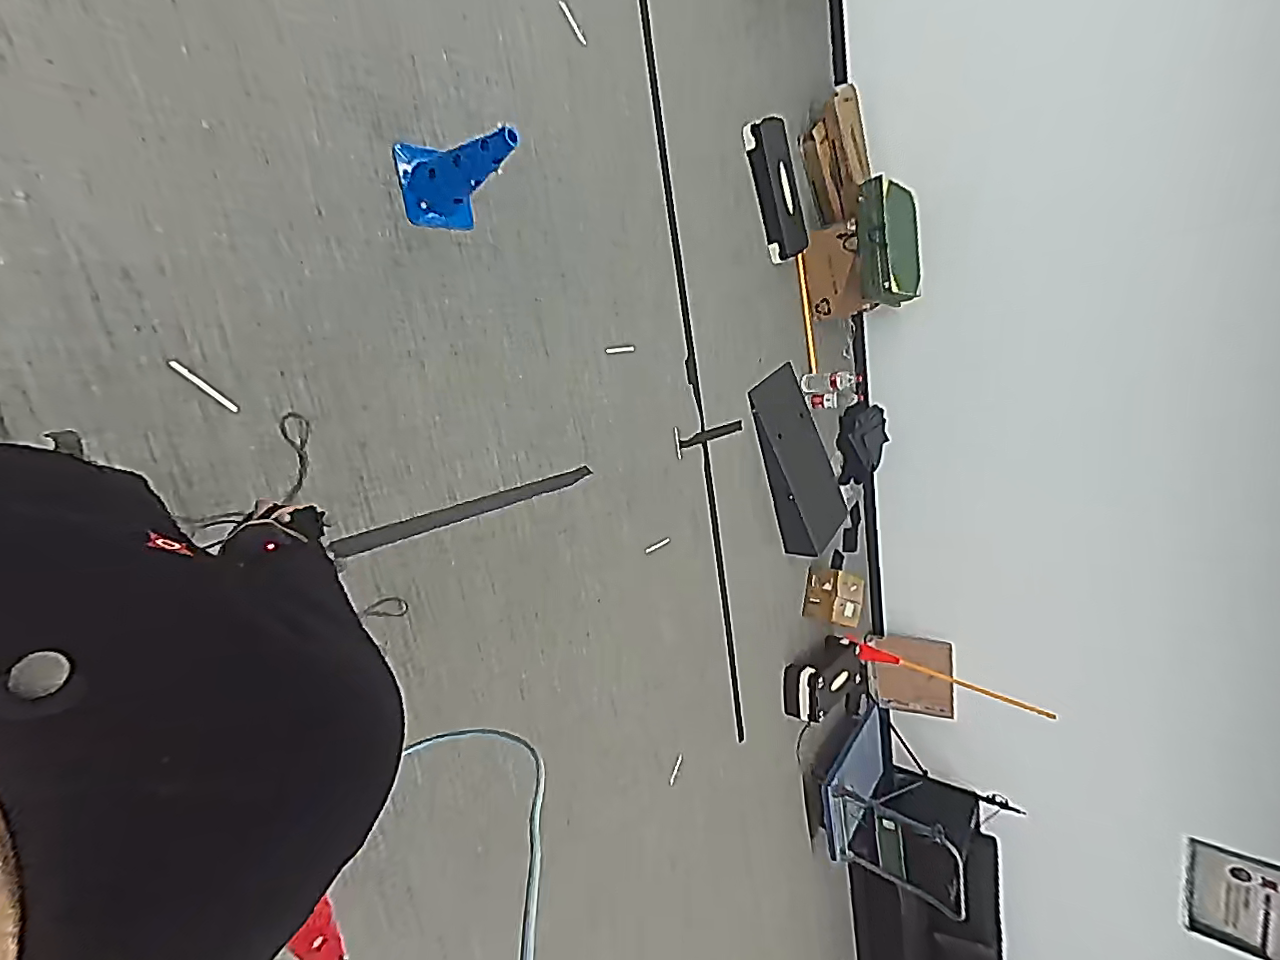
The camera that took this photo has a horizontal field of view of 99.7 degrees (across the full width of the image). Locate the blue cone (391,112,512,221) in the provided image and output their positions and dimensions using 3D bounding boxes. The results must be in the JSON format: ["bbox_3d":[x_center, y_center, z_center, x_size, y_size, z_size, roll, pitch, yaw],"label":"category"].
[{"bbox_3d":[-0.437,-0.801,1.343,0.193,0.380,0.192,-20,105,-47],"label":"blue cone"}]
